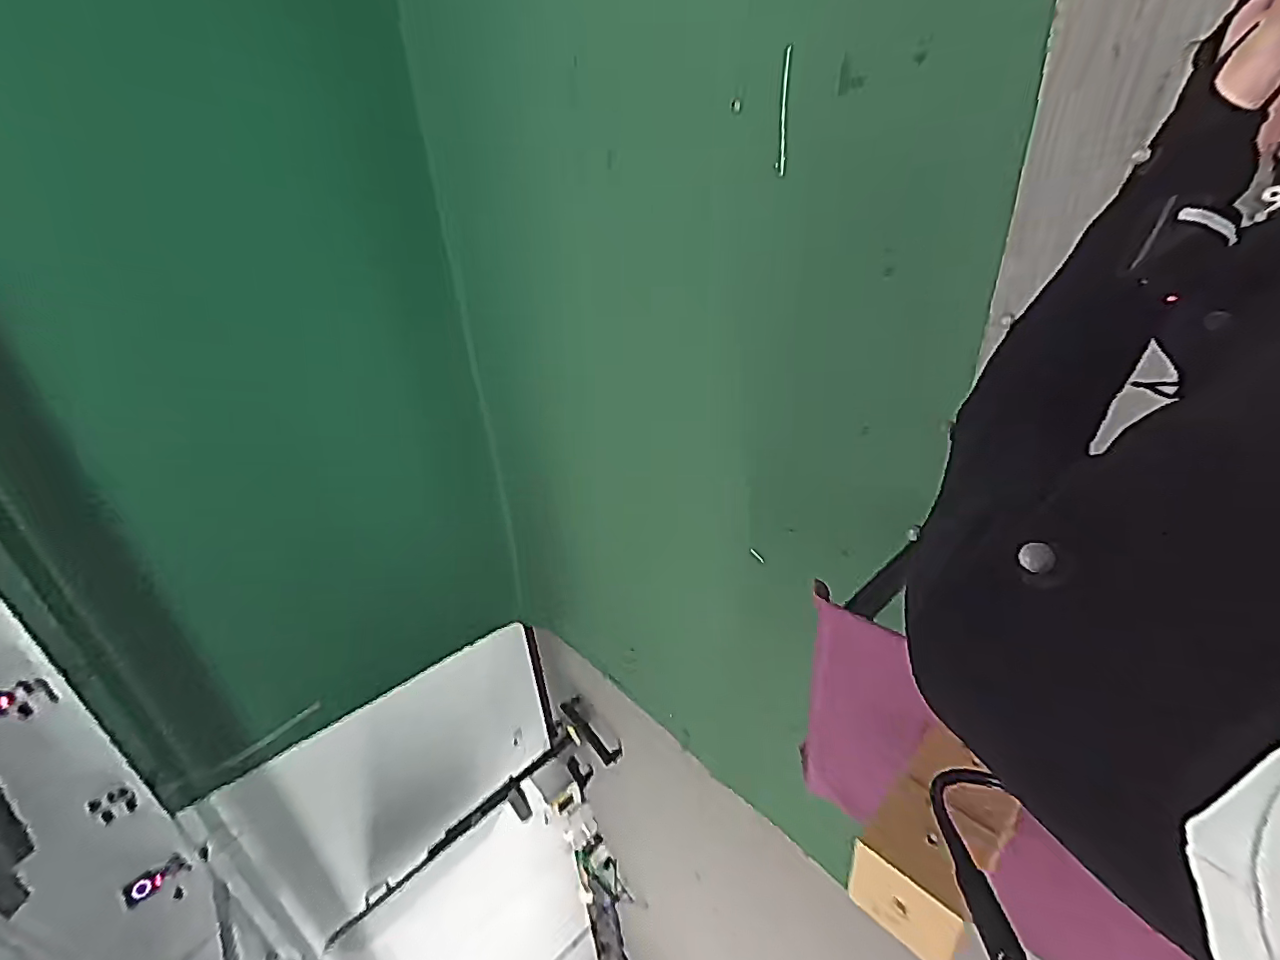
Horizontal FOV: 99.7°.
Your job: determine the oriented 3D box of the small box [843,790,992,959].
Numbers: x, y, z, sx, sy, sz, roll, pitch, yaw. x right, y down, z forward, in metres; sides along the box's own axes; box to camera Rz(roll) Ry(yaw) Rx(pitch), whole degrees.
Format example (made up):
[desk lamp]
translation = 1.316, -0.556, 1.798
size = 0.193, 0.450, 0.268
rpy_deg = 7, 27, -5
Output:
[small box]
translation = 0.471, 0.679, 0.919
size = 0.168, 0.176, 0.179
rpy_deg = 22, 126, 43
